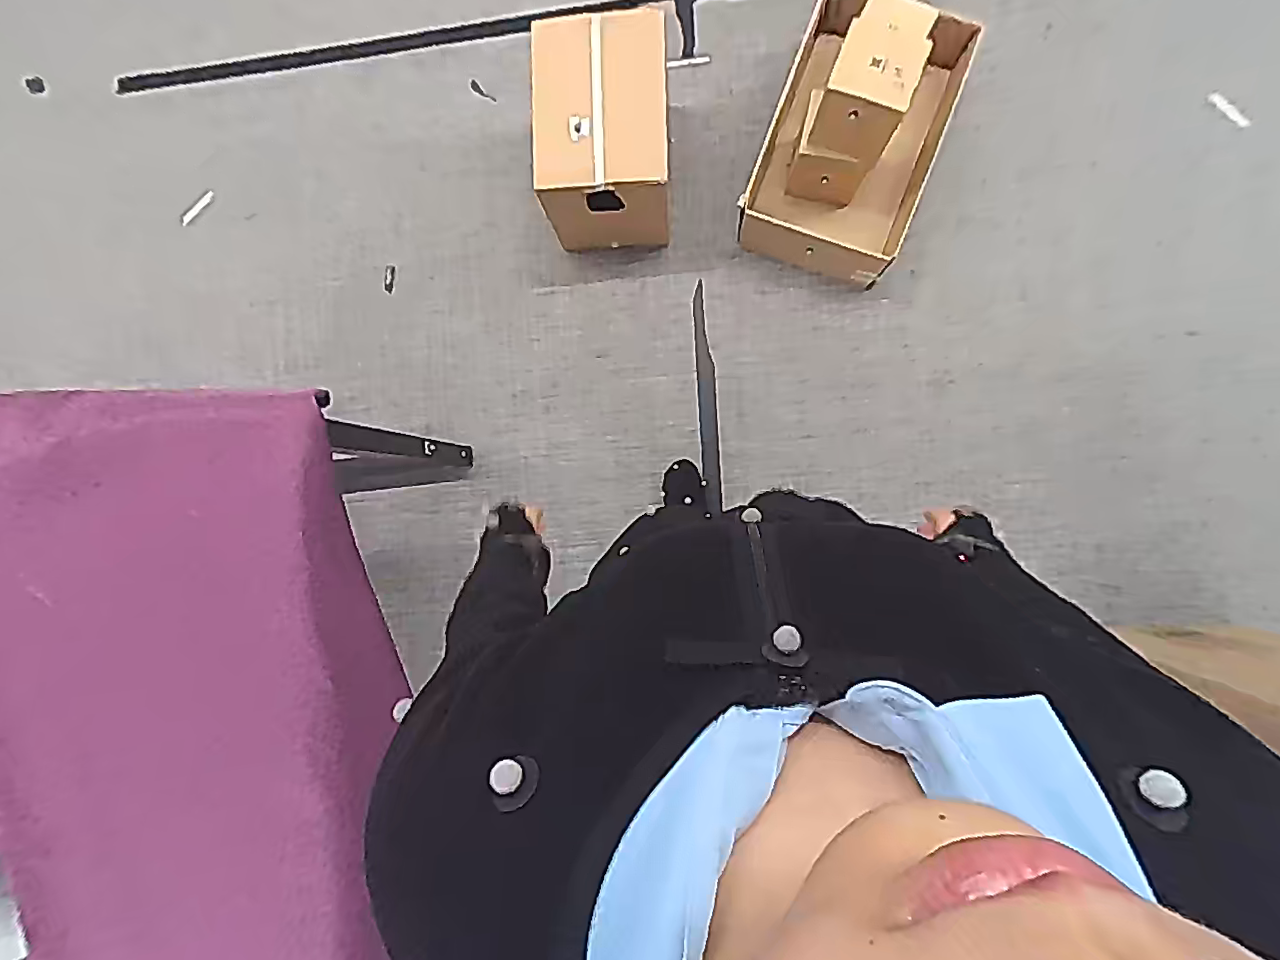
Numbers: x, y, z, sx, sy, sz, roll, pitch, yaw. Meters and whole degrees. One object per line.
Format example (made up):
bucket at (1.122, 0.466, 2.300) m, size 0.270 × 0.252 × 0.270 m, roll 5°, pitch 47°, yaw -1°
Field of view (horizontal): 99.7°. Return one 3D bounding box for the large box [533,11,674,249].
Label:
large box at (-0.075, -0.861, 1.381) m, size 0.320 × 0.320 × 0.408 m, roll -2°, pitch 89°, yaw 5°

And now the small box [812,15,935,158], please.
small box at (0.502, -0.854, 1.191) m, size 0.179 × 0.176 × 0.168 m, roll 22°, pitch 88°, yaw 4°
